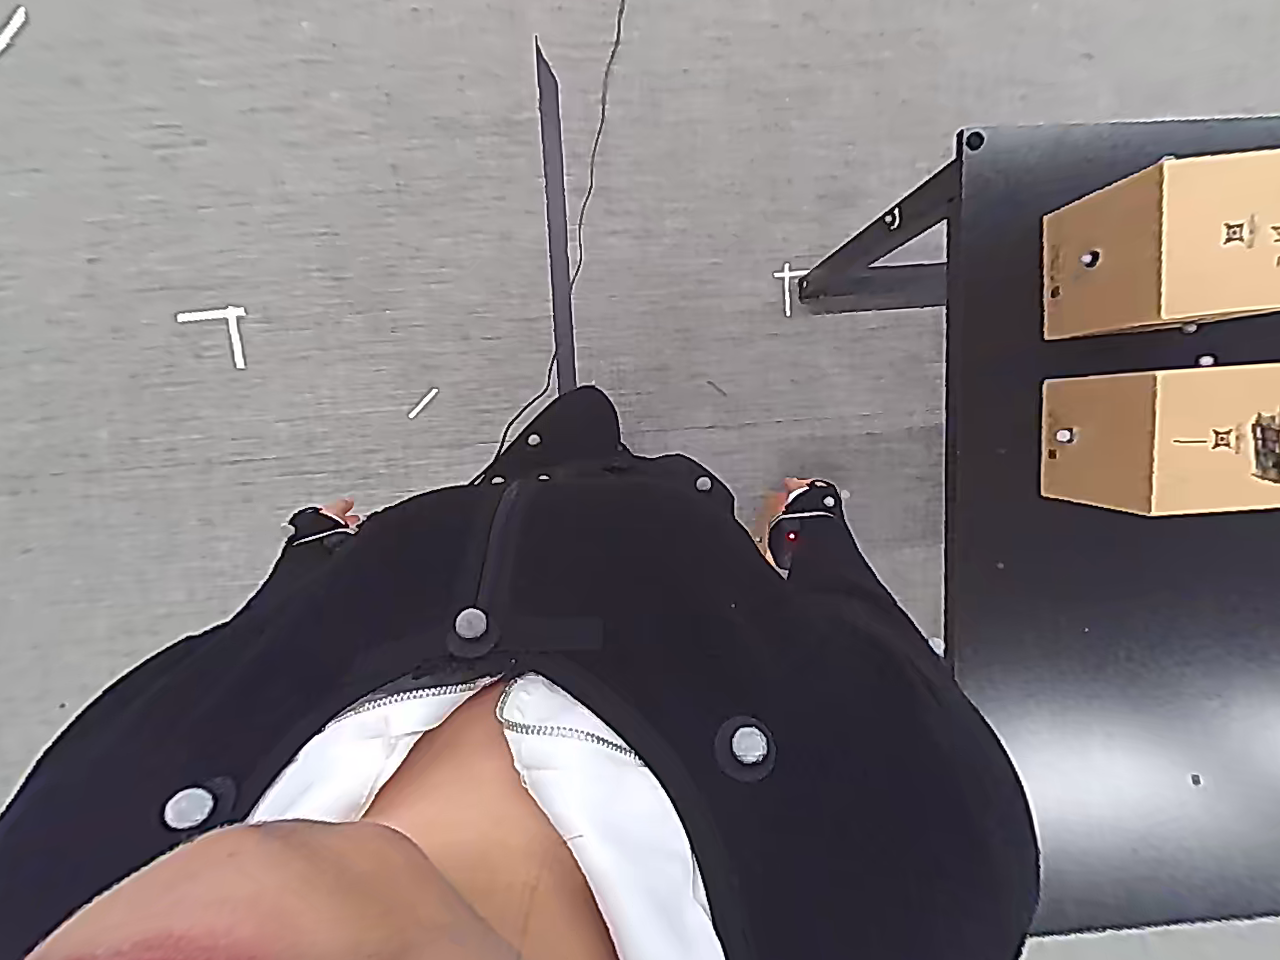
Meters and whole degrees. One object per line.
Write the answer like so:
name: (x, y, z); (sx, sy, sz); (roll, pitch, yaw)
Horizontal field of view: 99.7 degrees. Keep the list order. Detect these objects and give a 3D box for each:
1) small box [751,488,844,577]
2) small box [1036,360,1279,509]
small box: (0.409, 0.134, 1.441); (0.168, 0.176, 0.179); (17, 95, -4)
small box: (0.655, -0.061, 0.690); (0.179, 0.176, 0.168); (-4, 96, -1)
